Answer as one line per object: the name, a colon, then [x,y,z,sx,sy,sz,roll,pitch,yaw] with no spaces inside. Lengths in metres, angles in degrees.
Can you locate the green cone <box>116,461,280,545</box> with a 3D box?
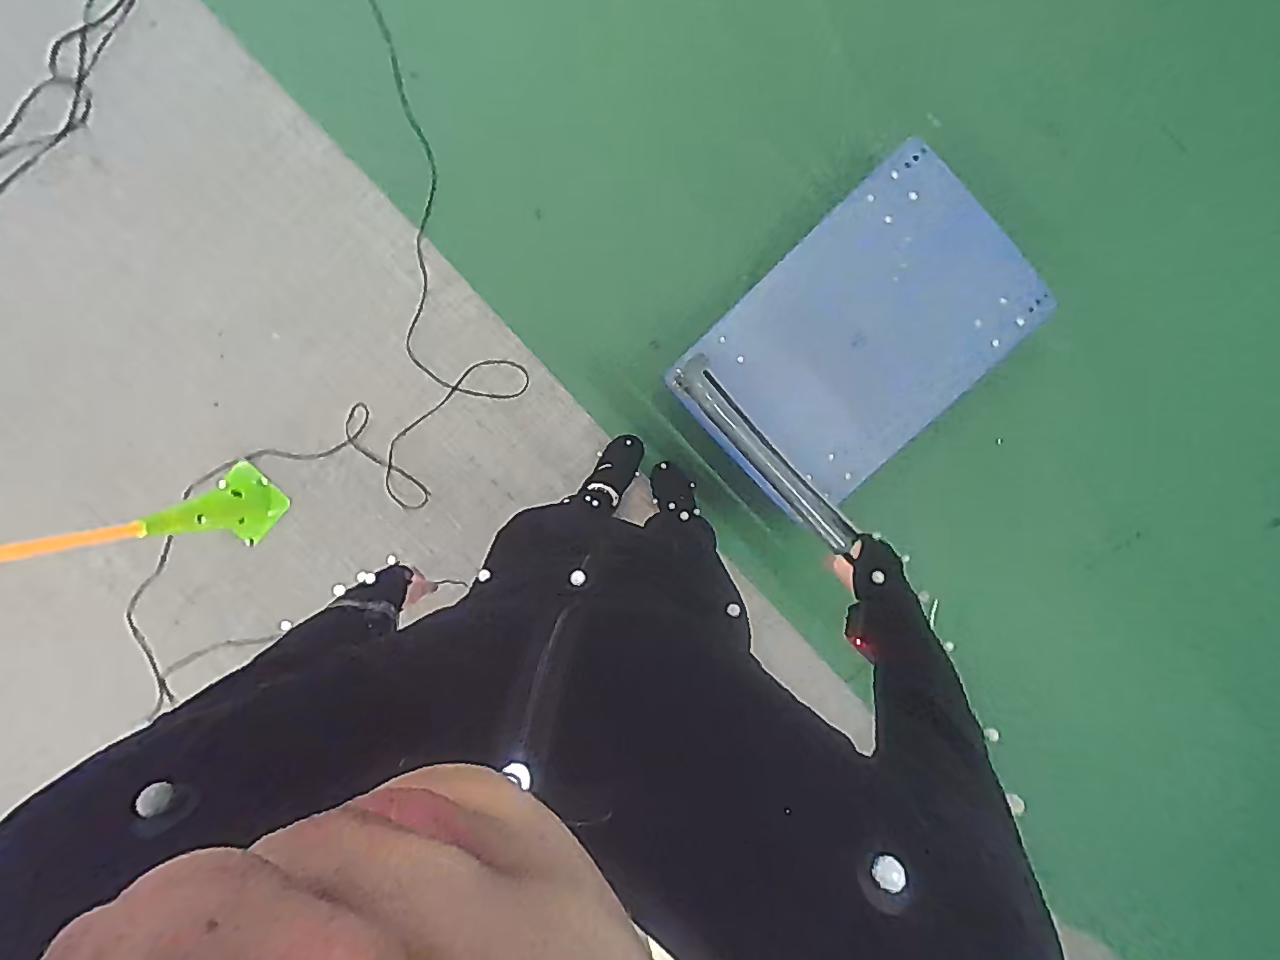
green cone: [-1.213,0.090,1.457,0.202,0.368,0.200,43,96,-3]
